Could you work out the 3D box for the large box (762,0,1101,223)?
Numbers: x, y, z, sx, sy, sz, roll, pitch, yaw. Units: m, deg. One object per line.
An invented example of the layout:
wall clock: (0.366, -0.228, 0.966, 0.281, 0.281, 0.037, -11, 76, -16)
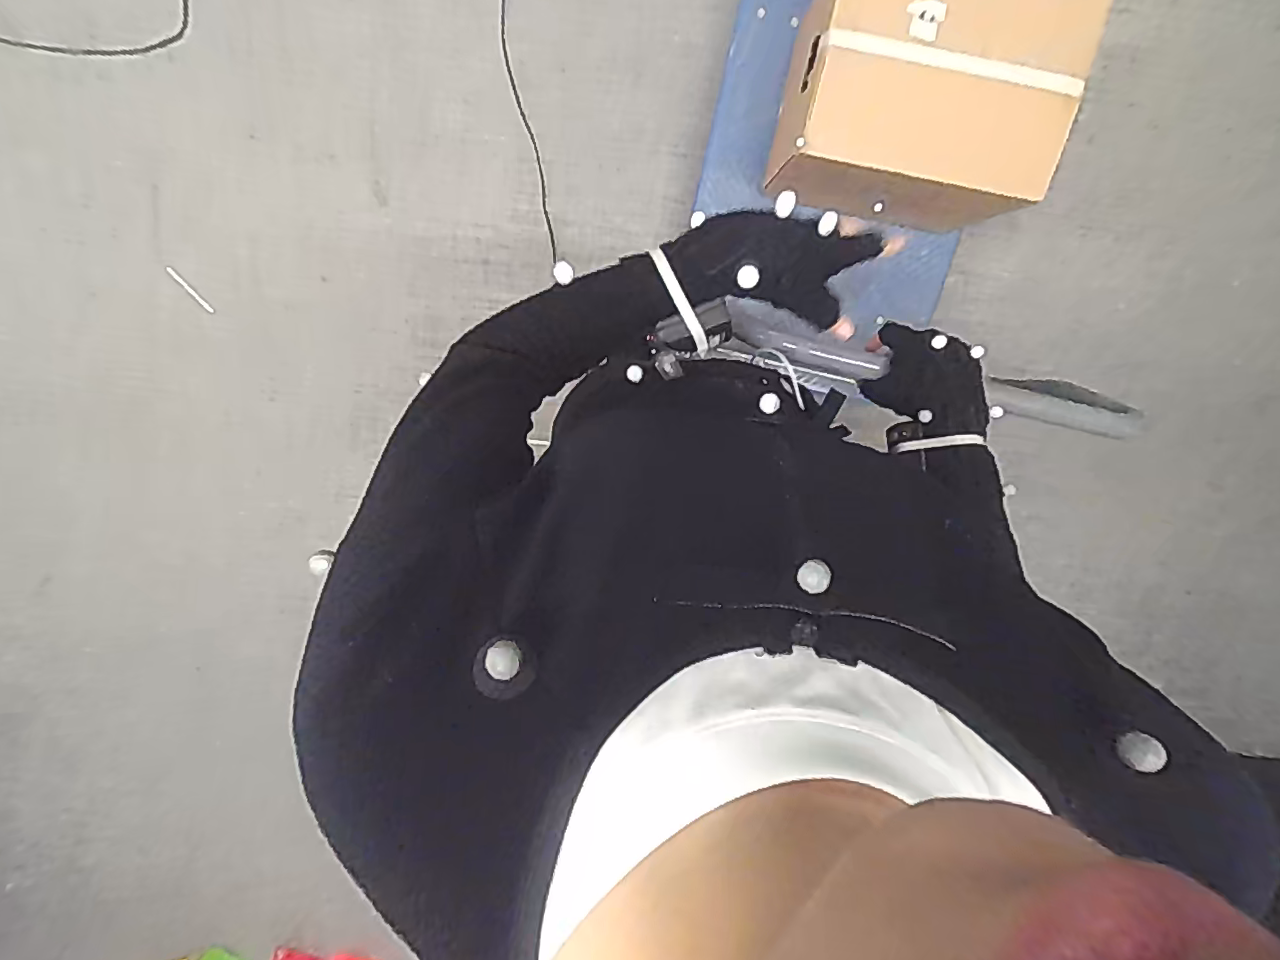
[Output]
large box: (0.476, -0.680, 0.973, 0.408, 0.320, 0.320, 10, 105, -2)
